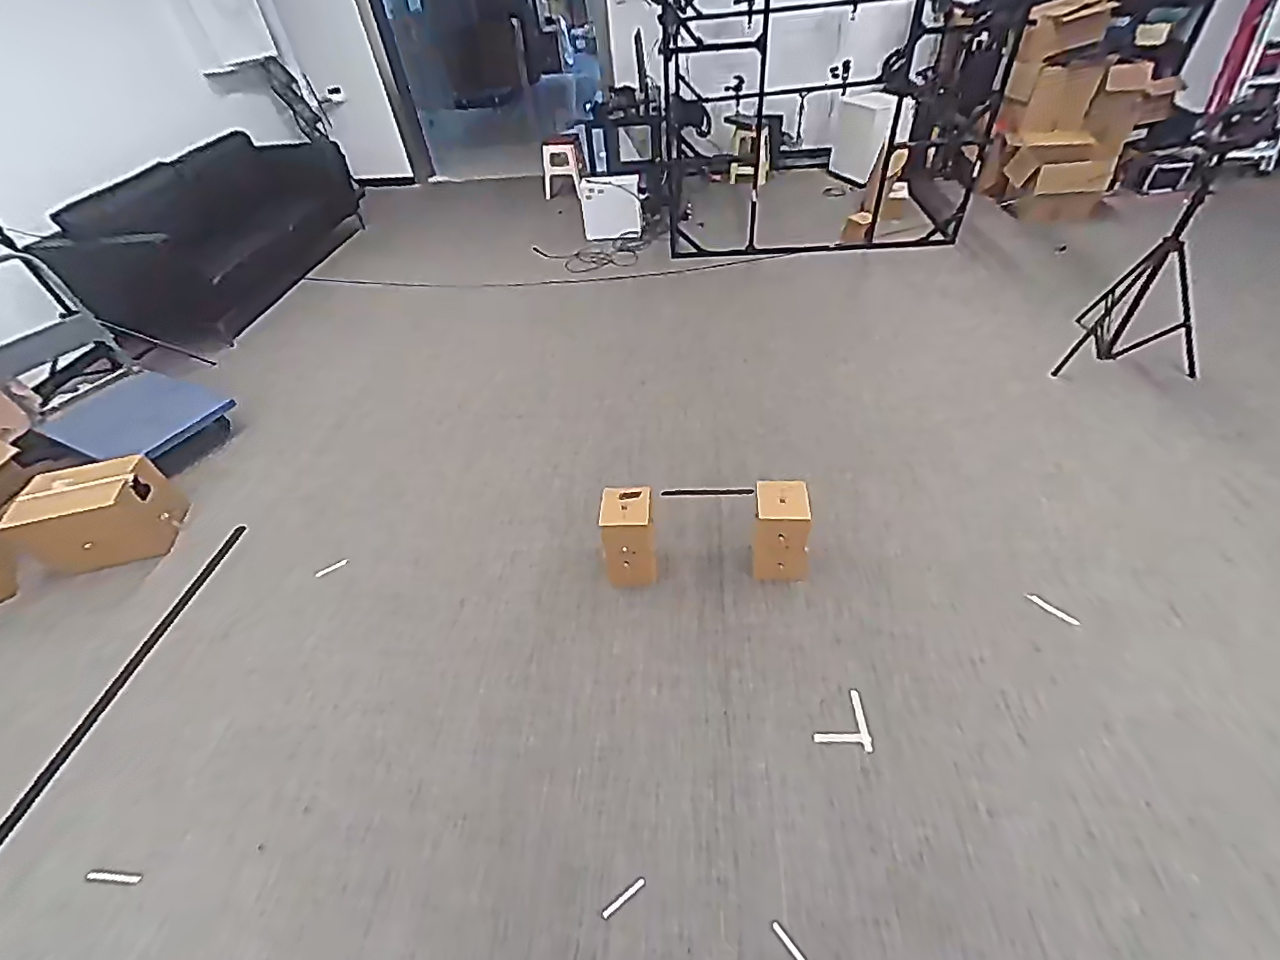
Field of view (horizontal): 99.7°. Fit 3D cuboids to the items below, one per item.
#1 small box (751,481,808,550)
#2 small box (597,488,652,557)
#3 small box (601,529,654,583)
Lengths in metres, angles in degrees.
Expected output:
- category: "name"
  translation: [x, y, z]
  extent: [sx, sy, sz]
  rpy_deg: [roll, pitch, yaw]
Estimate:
- category: "small box"
  translation: [0.469, 0.123, 1.836]
  extent: [0.168, 0.176, 0.179]
  rpy_deg: [1, 45, 7]
- category: "small box"
  translation: [-0.048, 0.146, 1.873]
  extent: [0.168, 0.176, 0.179]
  rpy_deg: [-2, 45, 6]
- category: "small box"
  translation: [-0.040, 0.265, 1.986]
  extent: [0.179, 0.176, 0.168]
  rpy_deg: [-2, 45, 6]
